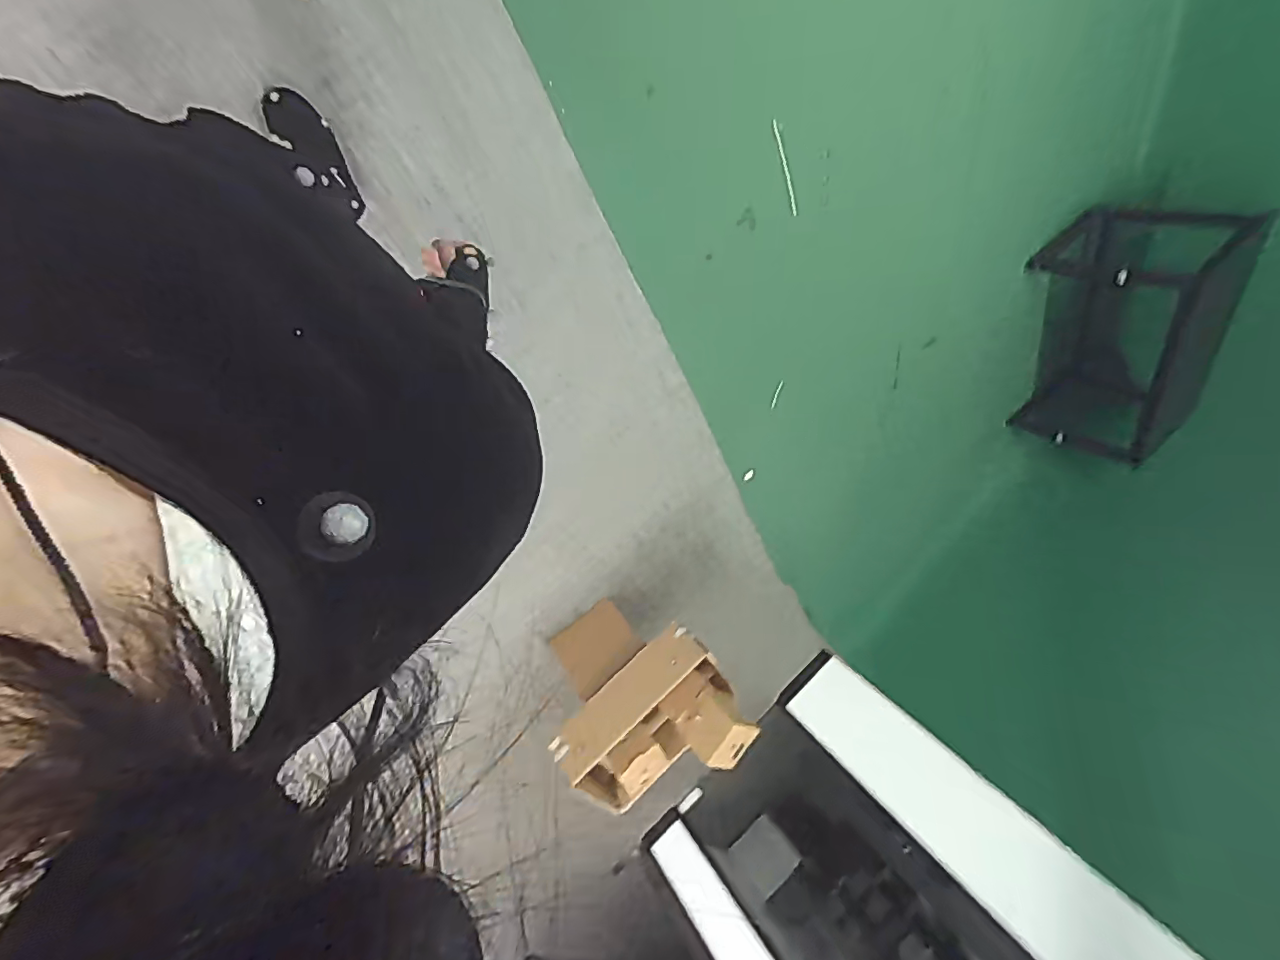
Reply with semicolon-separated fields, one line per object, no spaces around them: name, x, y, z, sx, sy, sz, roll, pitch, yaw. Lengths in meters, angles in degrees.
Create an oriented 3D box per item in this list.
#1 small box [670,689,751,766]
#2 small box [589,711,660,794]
small box;0.236;0.838;1.837;0.179;0.176;0.168;35;91;-43
small box;-0.058;0.950;1.904;0.168;0.176;0.179;-34;131;-18
